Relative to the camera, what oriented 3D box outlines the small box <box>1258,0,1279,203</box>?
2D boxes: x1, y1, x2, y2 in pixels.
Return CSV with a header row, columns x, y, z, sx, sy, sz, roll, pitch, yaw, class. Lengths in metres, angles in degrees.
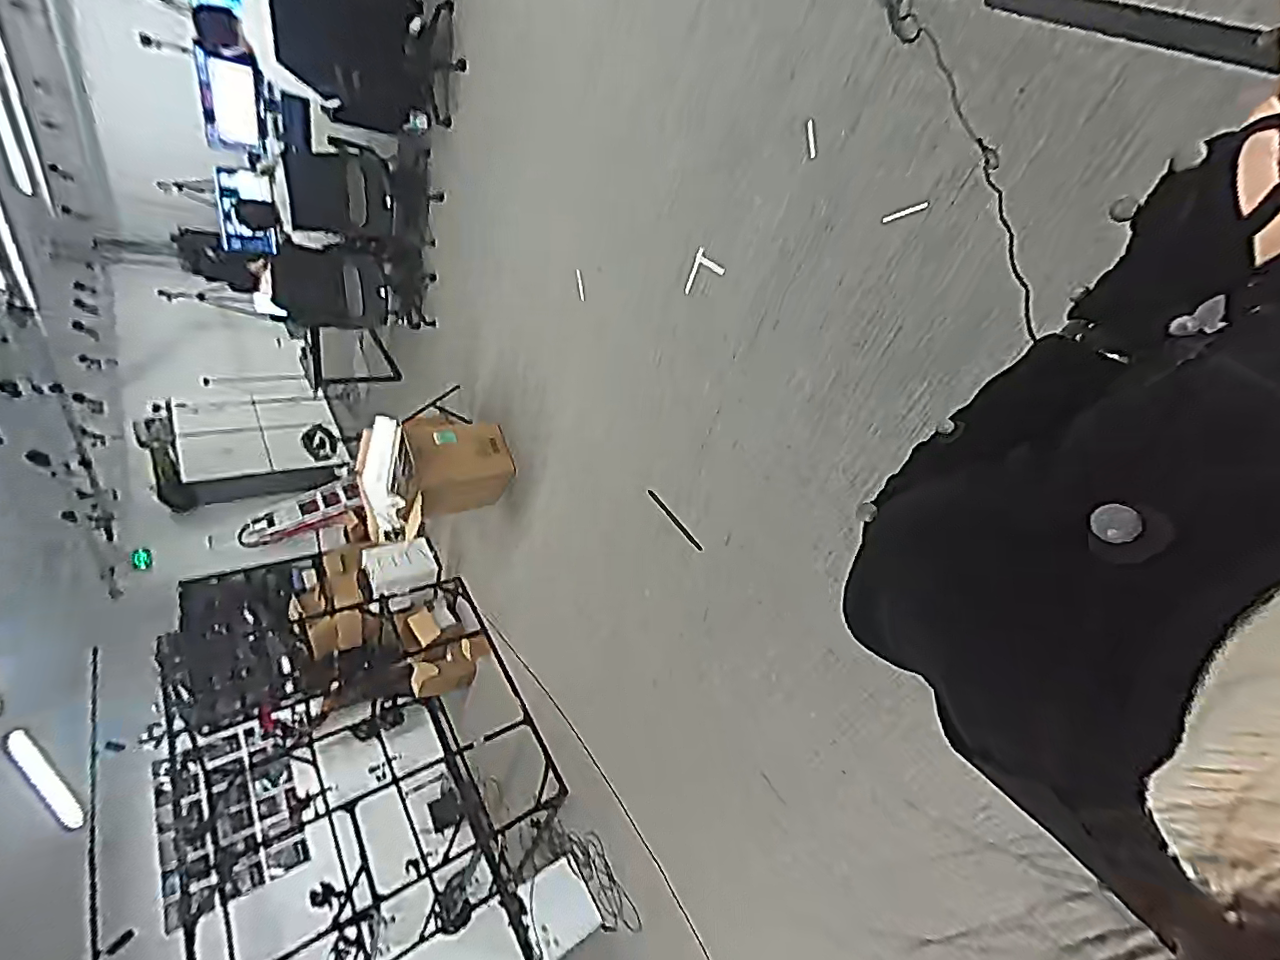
x,y,z,sx,sy,sz,roll,pitch,yaw,class
0.457,-0.263,0.279,0.168,0.176,0.179,3,110,56,small box
